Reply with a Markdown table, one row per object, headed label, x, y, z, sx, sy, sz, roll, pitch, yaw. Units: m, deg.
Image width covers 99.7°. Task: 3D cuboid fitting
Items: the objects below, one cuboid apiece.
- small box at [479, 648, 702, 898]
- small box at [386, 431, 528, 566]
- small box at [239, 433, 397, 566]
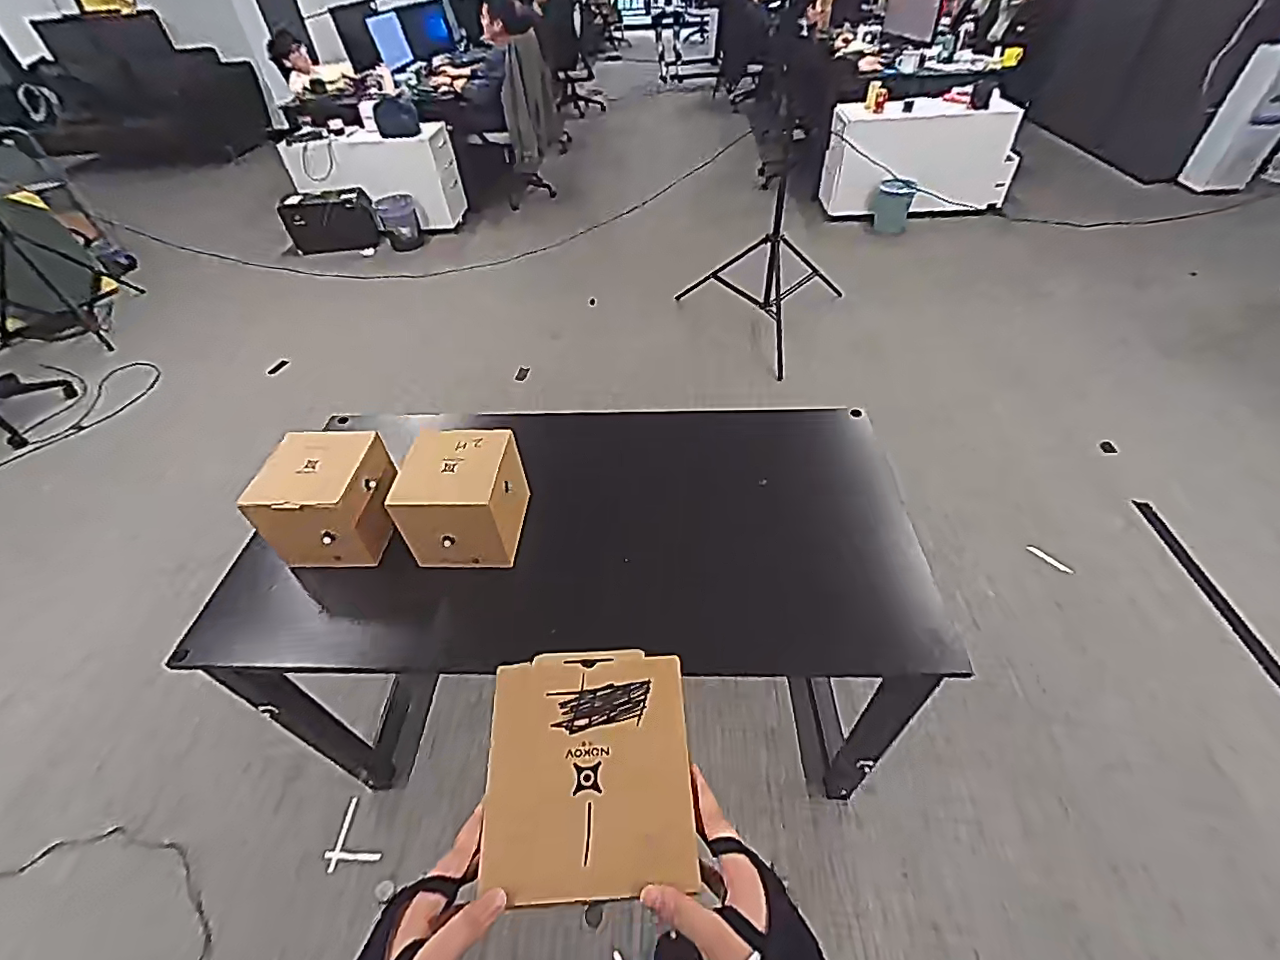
| label | x | y | z | sx | sy | sz | roll | pitch | yaw |
| --- | --- | --- | --- | --- | --- | --- | --- | --- | --- |
| small box | -0.039 | 0.275 | 0.505 | 0.168 | 0.176 | 0.179 | -4 | 53 | -1 |
| small box | -0.301 | 0.034 | 0.935 | 0.168 | 0.176 | 0.179 | 0 | 46 | 3 |
| small box | -0.540 | 0.037 | 0.952 | 0.168 | 0.176 | 0.179 | 0 | 45 | 2 |
